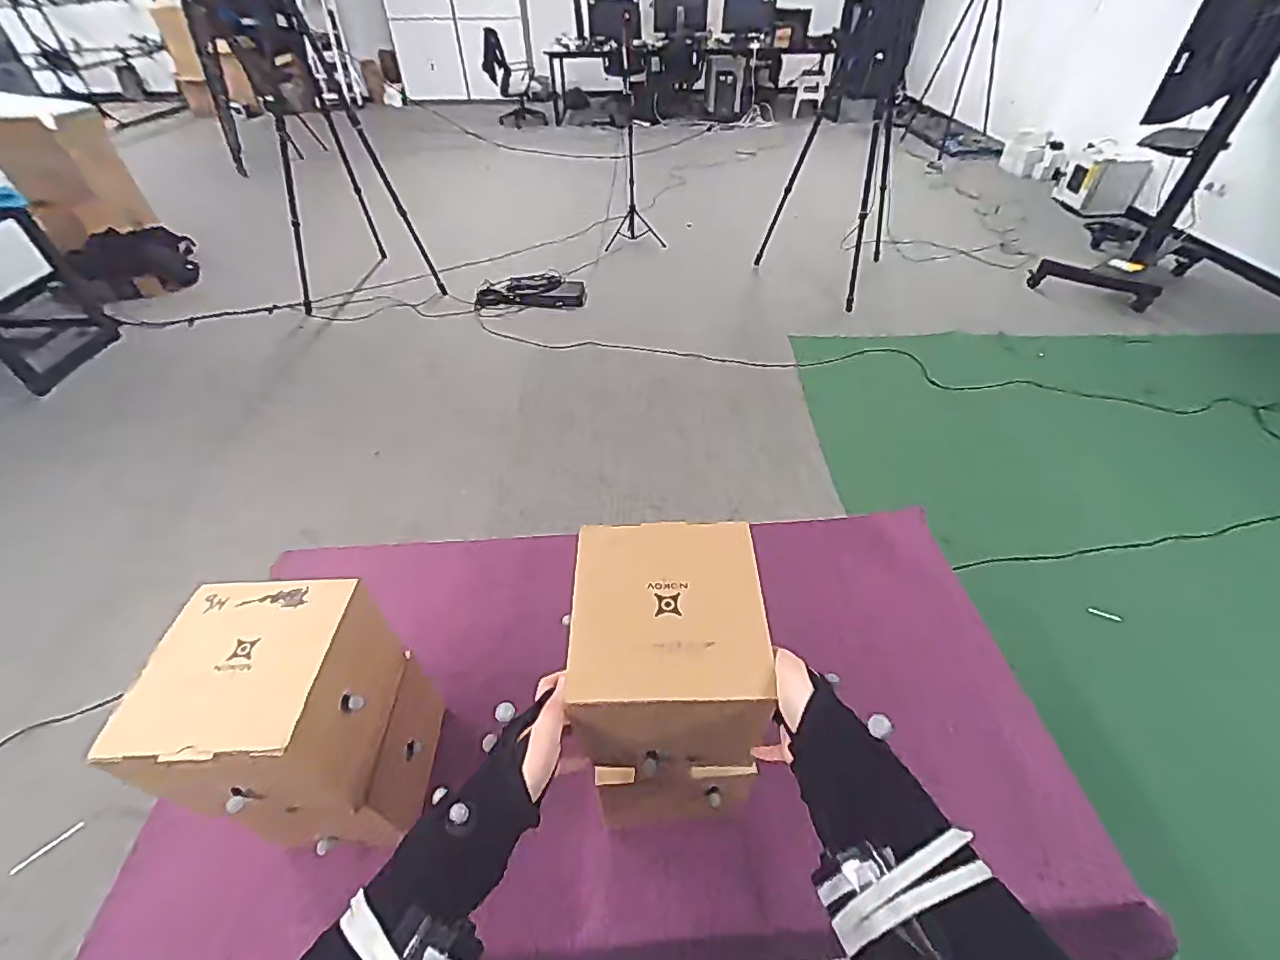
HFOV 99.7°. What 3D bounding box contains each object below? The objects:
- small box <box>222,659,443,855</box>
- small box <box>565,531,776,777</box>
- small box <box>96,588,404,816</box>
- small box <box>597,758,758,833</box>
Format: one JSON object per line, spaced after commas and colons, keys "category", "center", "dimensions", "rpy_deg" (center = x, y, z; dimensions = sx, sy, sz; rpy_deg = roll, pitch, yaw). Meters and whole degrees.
{"category": "small box", "center": [-0.362, 0.346, 0.679], "dimensions": [0.168, 0.176, 0.179], "rpy_deg": [-2, 44, -1]}
{"category": "small box", "center": [0.026, 0.169, 0.529], "dimensions": [0.168, 0.176, 0.179], "rpy_deg": [-1, 46, 1]}
{"category": "small box", "center": [-0.368, 0.233, 0.560], "dimensions": [0.168, 0.176, 0.179], "rpy_deg": [-1, 44, -1]}
{"category": "small box", "center": [0.037, 0.328, 0.687], "dimensions": [0.179, 0.176, 0.168], "rpy_deg": [-3, 43, -2]}
